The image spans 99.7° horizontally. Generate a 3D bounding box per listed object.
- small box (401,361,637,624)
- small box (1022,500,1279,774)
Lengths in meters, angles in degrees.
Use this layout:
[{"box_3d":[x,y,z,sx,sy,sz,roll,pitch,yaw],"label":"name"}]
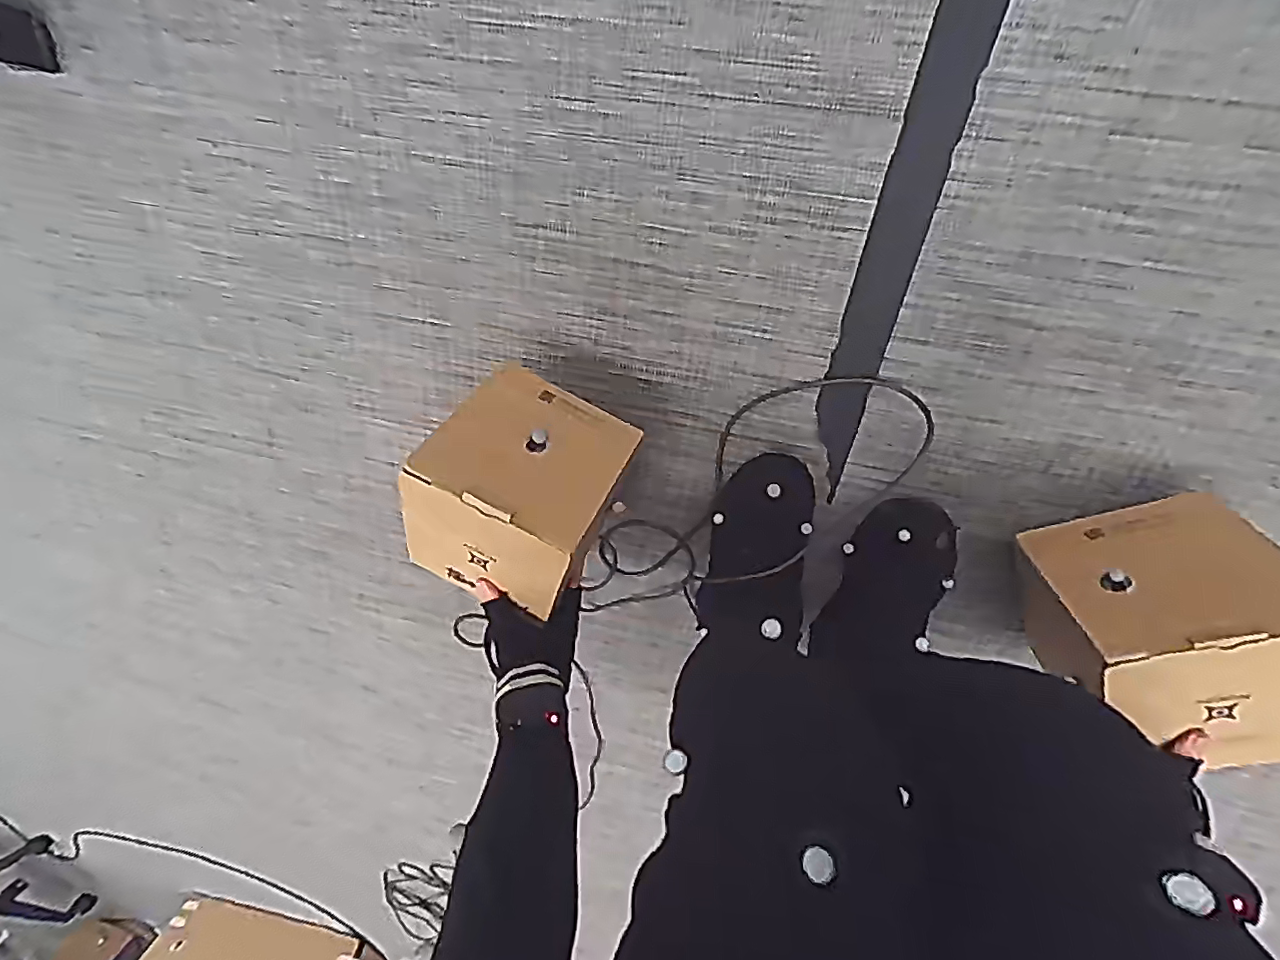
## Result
[{"box_3d":[-0.118,0.011,0.555,0.168,0.176,0.179,28,141,1],"label":"small box"},{"box_3d":[0.486,0.138,0.504,0.168,0.176,0.179,-18,120,19],"label":"small box"}]
